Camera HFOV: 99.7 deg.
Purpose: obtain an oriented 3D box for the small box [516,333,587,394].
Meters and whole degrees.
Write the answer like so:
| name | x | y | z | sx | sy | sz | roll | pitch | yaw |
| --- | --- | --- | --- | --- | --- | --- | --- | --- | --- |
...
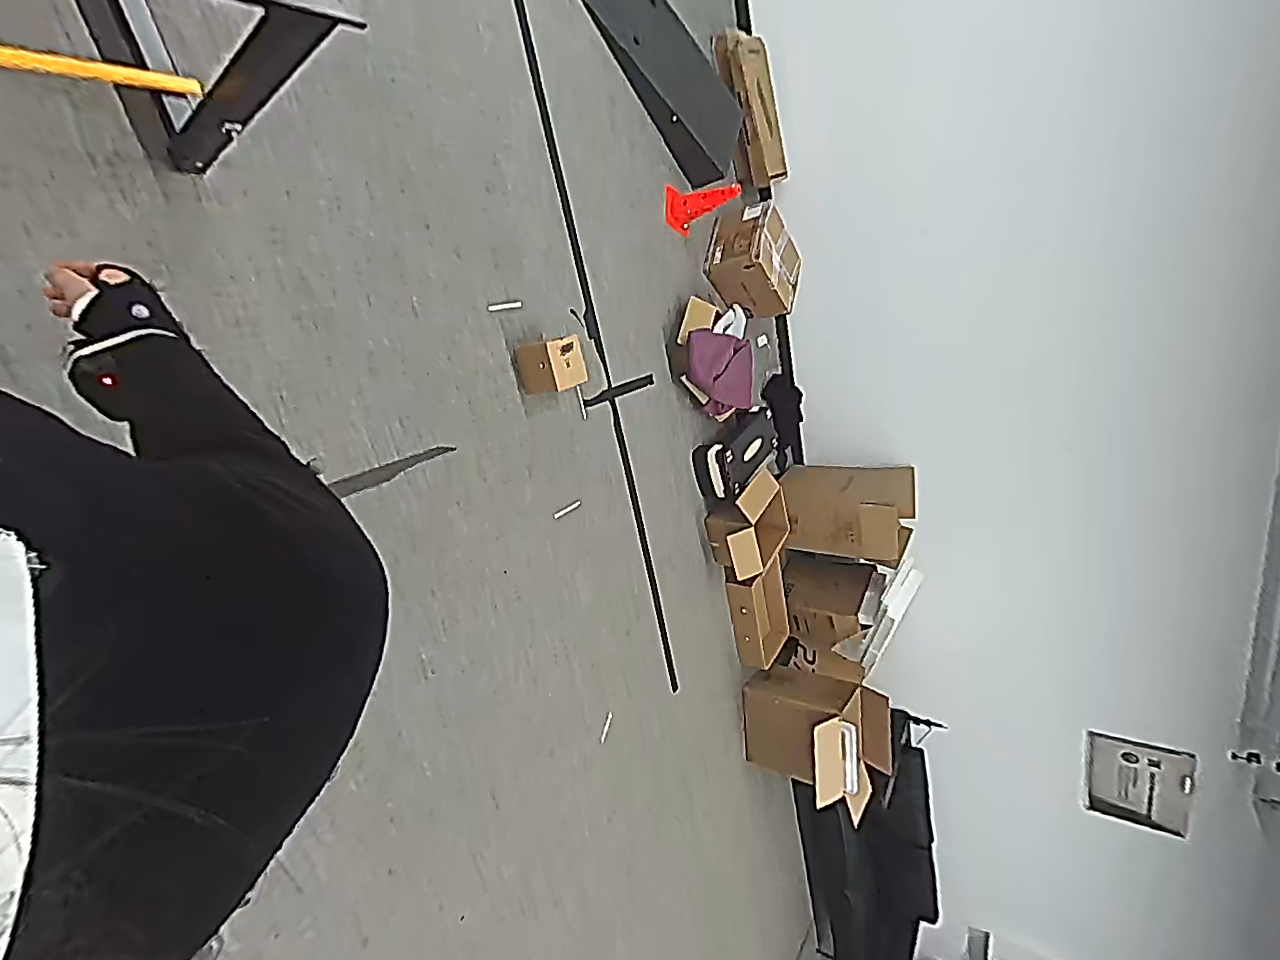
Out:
| name | x | y | z | sx | sy | sz | roll | pitch | yaw |
| --- | --- | --- | --- | --- | --- | --- | --- | --- | --- |
| small box | -0.325 | -0.421 | 1.967 | 0.168 | 0.176 | 0.179 | -34 | 118 | -47 |
